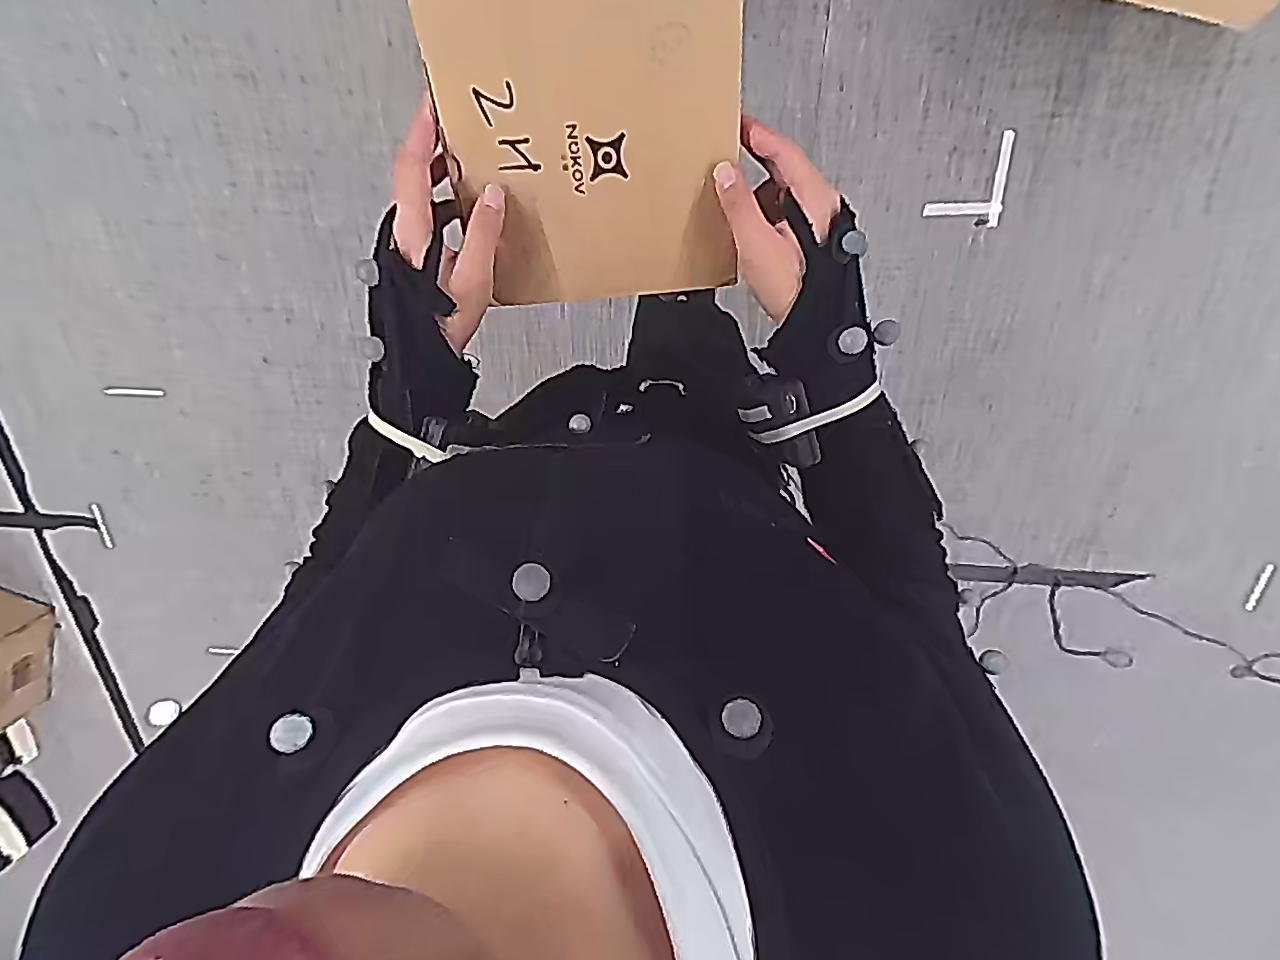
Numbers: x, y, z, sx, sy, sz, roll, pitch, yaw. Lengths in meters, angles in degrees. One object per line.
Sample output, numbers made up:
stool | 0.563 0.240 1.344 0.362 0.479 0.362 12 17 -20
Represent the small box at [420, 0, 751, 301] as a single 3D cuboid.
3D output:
small box | -0.026 -0.240 0.387 0.179 0.176 0.168 -4 125 2
